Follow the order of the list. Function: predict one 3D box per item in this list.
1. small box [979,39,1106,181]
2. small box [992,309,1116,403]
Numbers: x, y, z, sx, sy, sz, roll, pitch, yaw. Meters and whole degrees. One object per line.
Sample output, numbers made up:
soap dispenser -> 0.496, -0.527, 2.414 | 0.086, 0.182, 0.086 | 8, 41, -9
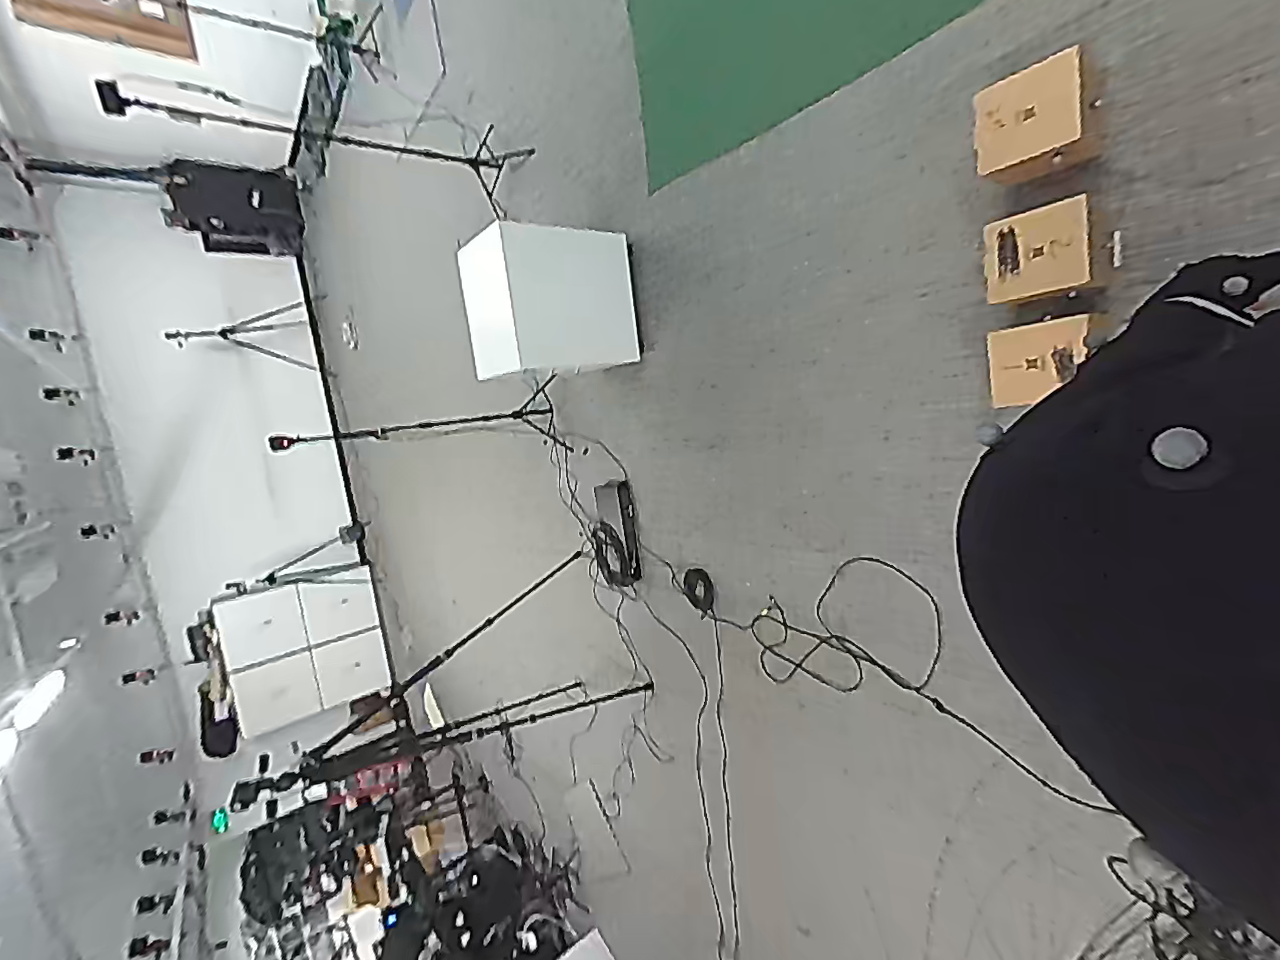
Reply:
small box -> 0.822, -0.736, 1.100 | 0.179, 0.176, 0.168 | 1, 100, 52
small box -> 0.887, -0.263, 1.154 | 0.179, 0.176, 0.168 | -1, 101, 53
